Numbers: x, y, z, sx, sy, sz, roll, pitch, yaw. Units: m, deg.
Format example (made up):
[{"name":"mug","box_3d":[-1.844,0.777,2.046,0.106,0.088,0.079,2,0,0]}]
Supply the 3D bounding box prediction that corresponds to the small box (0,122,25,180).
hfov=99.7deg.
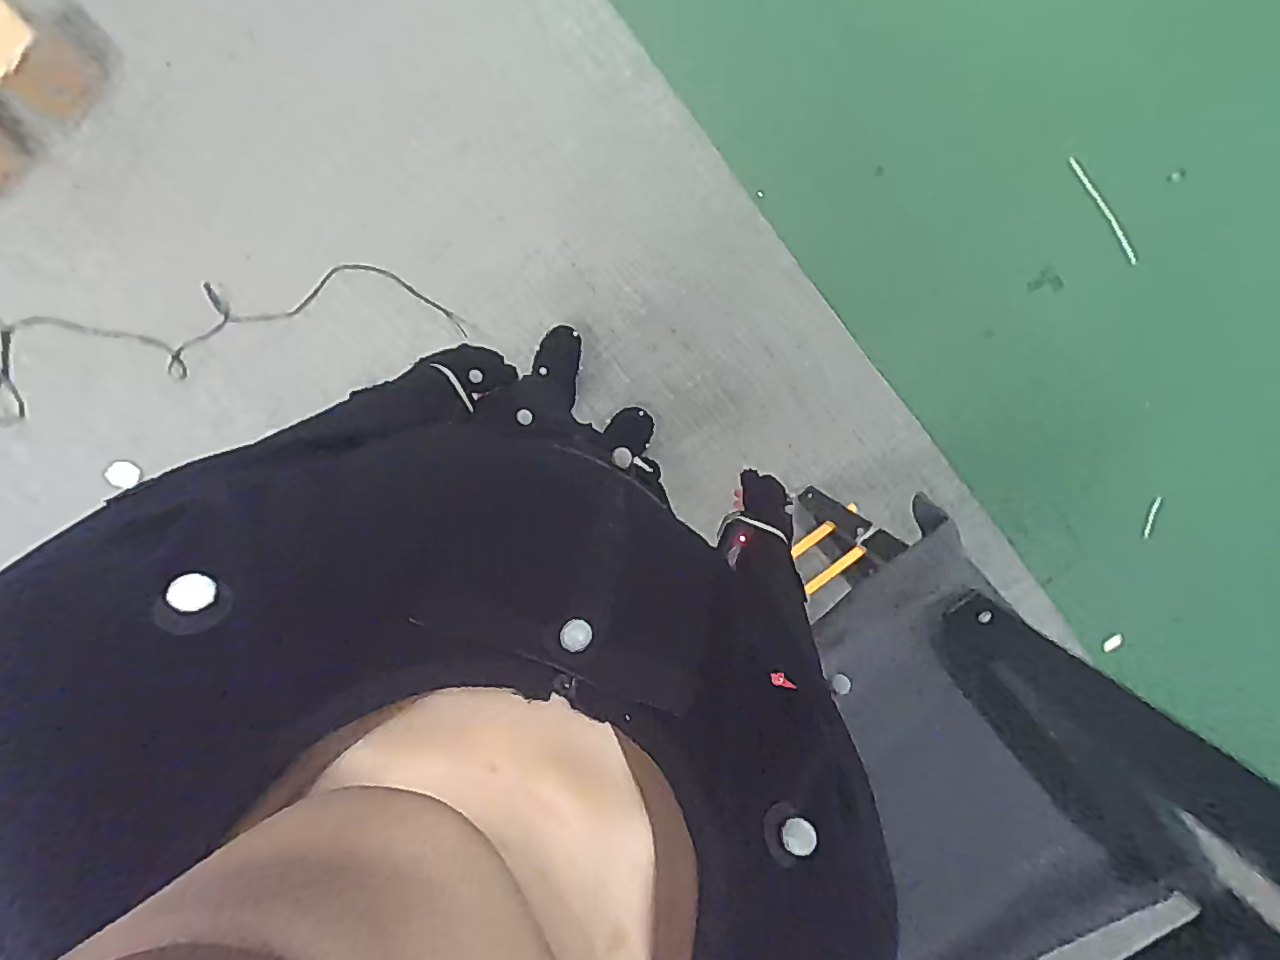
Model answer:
[{"name":"small box","box_3d":[-1.643,-0.817,1.272,0.168,0.176,0.179,-37,98,7]}]

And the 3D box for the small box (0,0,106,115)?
[{"name":"small box","box_3d":[-1.413,-0.994,1.239,0.168,0.176,0.179,-41,98,8]}]
